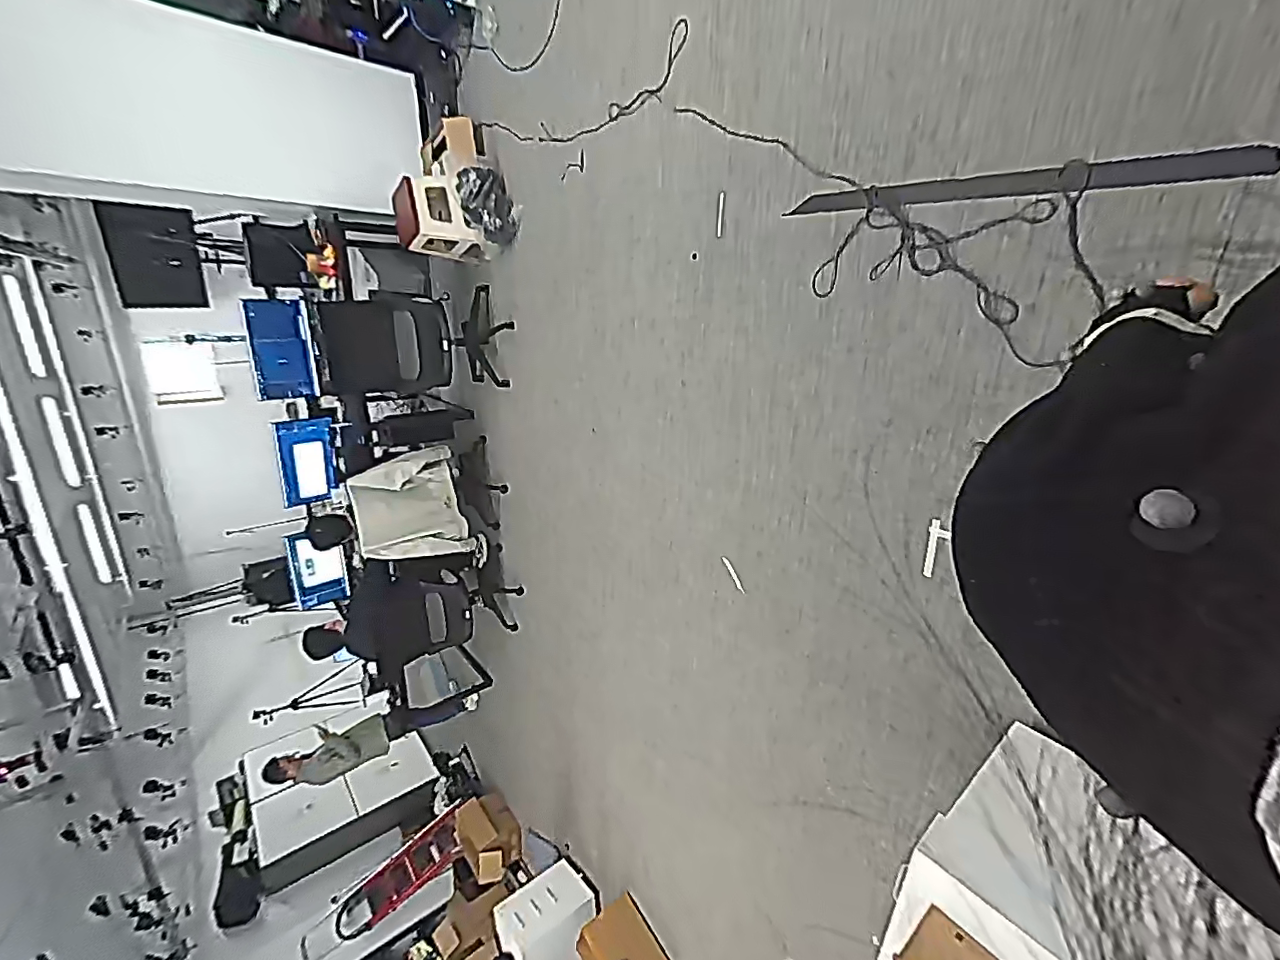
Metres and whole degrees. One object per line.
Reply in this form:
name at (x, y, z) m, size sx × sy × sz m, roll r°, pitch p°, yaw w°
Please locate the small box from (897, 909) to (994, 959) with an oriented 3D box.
small box at (0.552, 0.941, 0.976) m, size 0.168 × 0.176 × 0.179 m, roll 26°, pitch 120°, yaw 45°
